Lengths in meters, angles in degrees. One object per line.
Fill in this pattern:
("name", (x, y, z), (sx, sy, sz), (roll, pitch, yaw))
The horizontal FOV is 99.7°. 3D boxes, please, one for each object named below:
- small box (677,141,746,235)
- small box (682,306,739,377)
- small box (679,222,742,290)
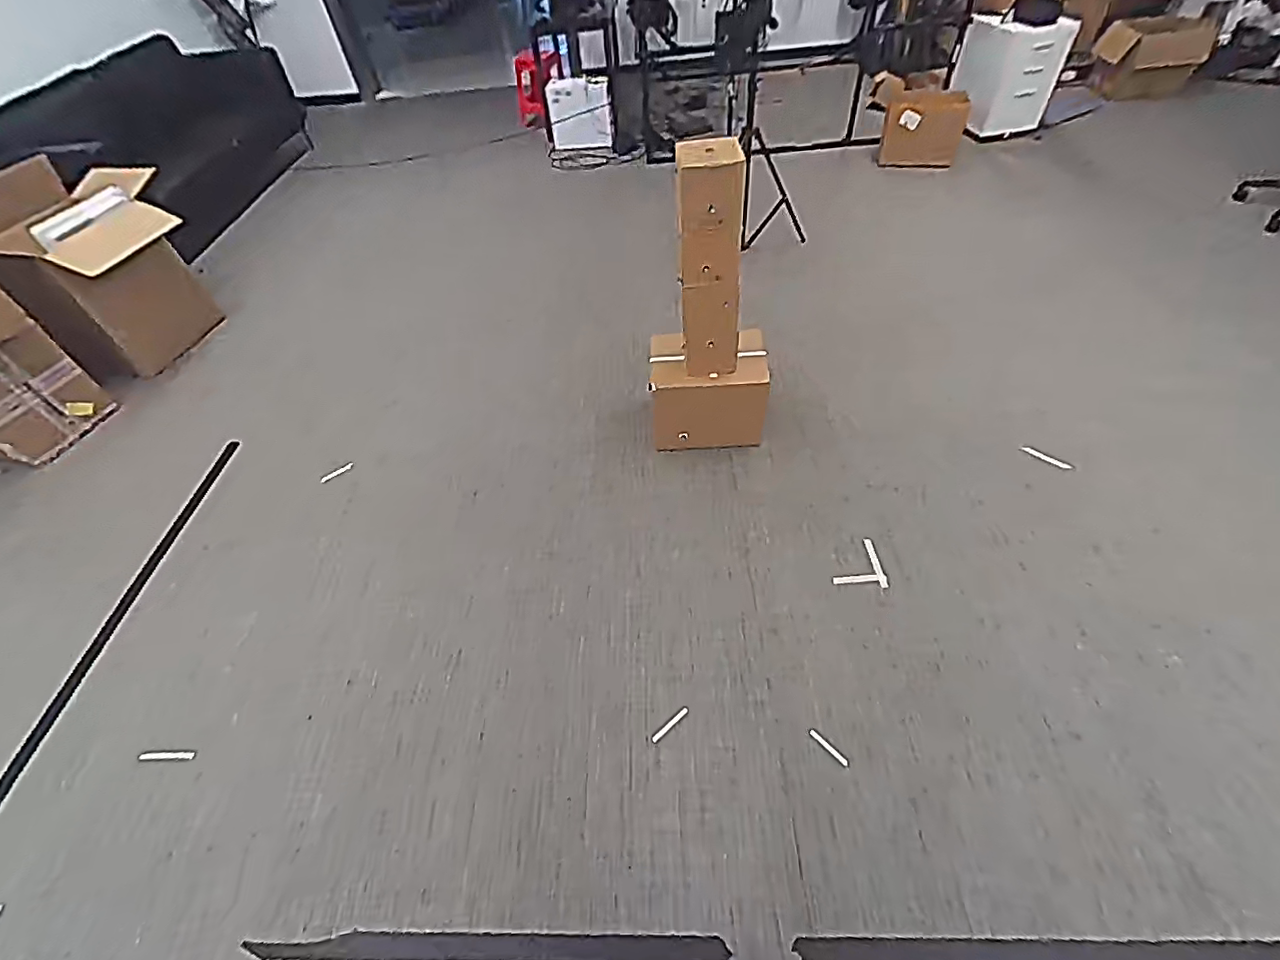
("small box", (0.188, -0.792, 1.469), (0.168, 0.176, 0.179), (-5, 51, 2))
("small box", (0.236, -0.466, 1.834), (0.179, 0.176, 0.168), (-3, 51, 2))
("small box", (0.202, -0.684, 1.593), (0.168, 0.176, 0.179), (-4, 51, 3))
